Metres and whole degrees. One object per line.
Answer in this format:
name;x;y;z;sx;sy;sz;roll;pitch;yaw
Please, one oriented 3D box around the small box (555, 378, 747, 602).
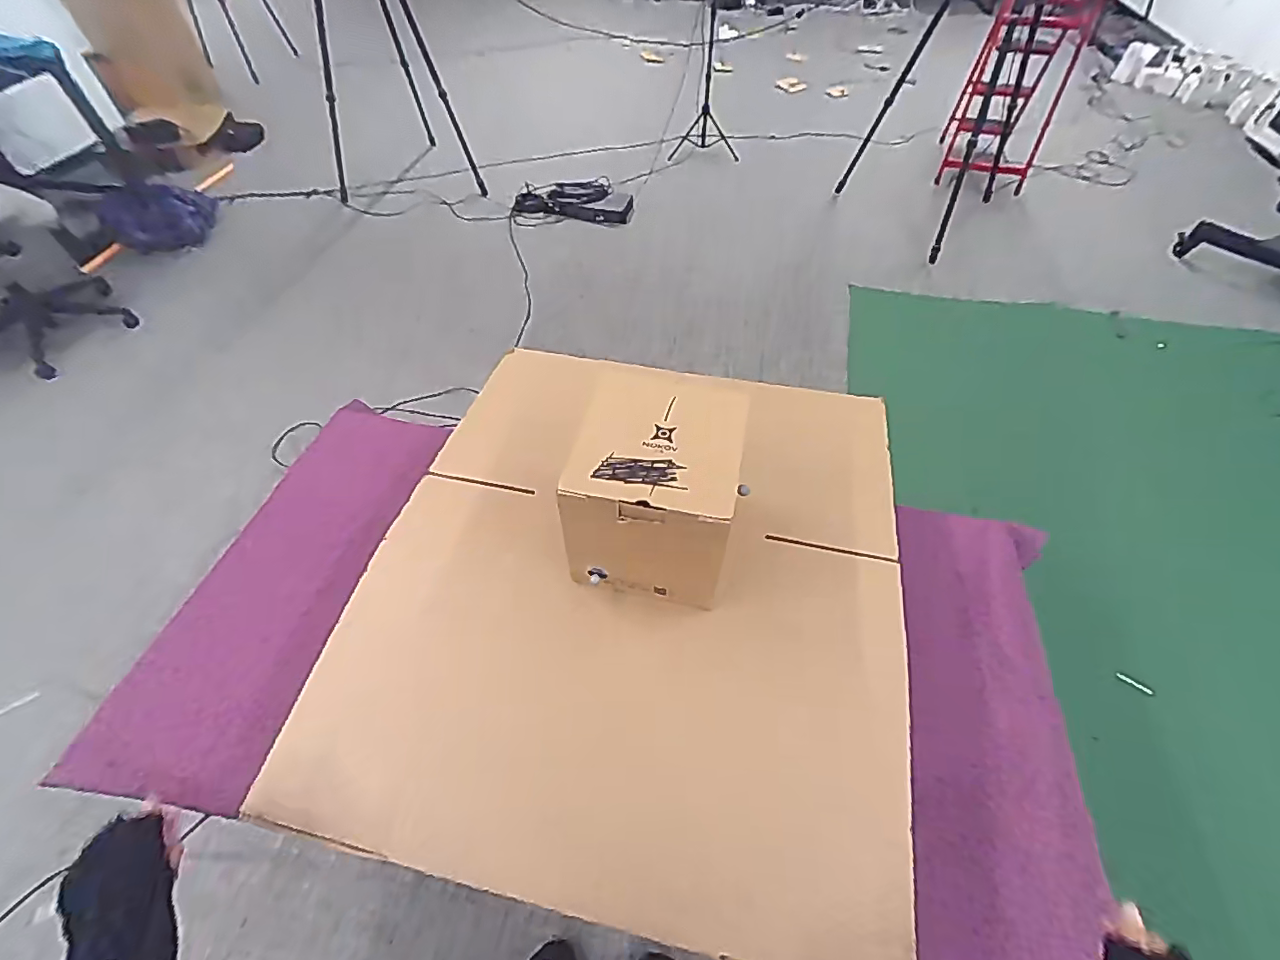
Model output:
small box;0.018;0.014;0.606;0.168;0.176;0.179;10;50;8
